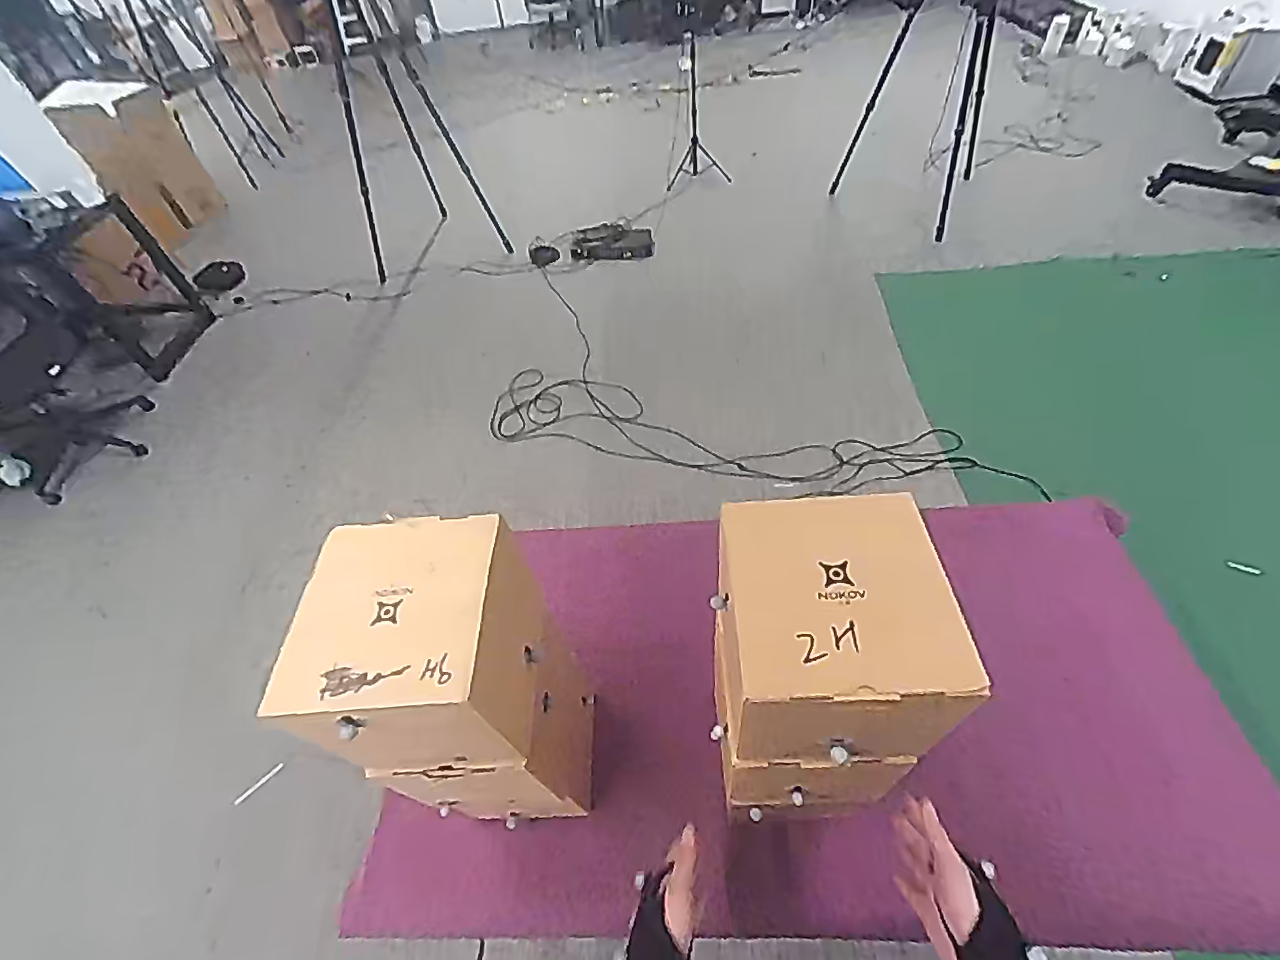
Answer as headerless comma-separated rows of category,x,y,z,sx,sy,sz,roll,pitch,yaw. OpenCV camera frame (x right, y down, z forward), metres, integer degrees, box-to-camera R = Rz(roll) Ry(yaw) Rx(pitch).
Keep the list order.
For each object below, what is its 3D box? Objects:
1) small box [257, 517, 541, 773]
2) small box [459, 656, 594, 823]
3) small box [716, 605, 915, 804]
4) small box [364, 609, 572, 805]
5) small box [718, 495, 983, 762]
small box,-0.199,0.159,0.513,0.168,0.176,0.179,-6,48,6
small box,-0.162,0.368,0.763,0.168,0.176,0.179,-5,50,5
small box,0.173,0.245,0.603,0.168,0.176,0.179,-4,50,5
small box,-0.181,0.270,0.633,0.168,0.176,0.179,-5,48,5
small box,0.158,0.135,0.482,0.168,0.176,0.179,-4,50,5
